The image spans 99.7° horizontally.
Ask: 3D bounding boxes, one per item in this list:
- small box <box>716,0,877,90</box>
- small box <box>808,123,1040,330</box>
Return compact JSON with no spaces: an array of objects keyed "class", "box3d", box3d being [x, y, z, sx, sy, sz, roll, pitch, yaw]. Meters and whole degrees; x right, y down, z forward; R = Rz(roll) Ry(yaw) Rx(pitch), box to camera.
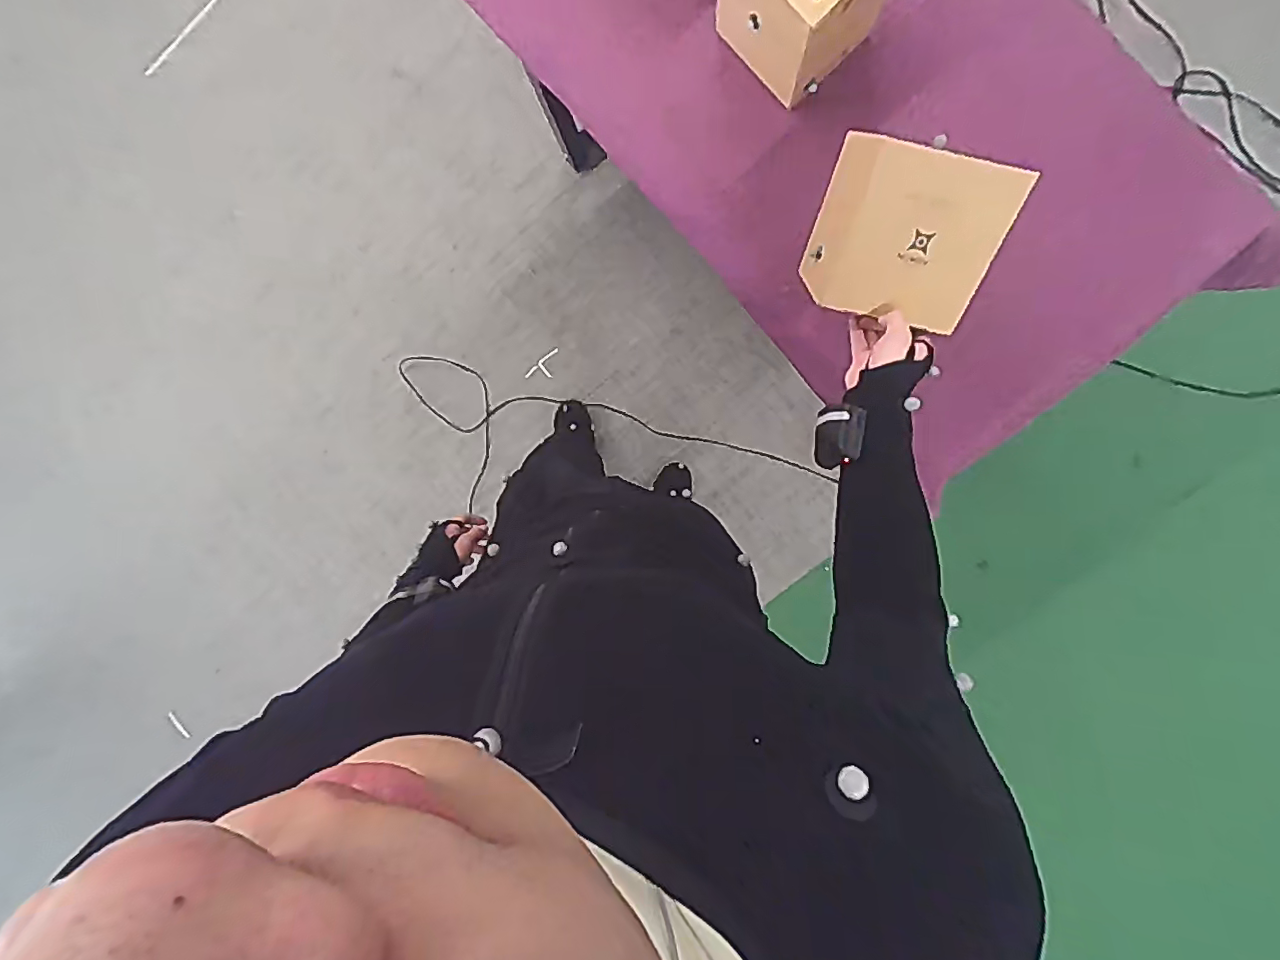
[{"class":"small box","box3d":[0.222,-0.691,0.744,0.168,0.176,0.179,-42,88,7]},{"class":"small box","box3d":[0.314,-0.307,0.649,0.168,0.176,0.179,13,125,-2]}]
